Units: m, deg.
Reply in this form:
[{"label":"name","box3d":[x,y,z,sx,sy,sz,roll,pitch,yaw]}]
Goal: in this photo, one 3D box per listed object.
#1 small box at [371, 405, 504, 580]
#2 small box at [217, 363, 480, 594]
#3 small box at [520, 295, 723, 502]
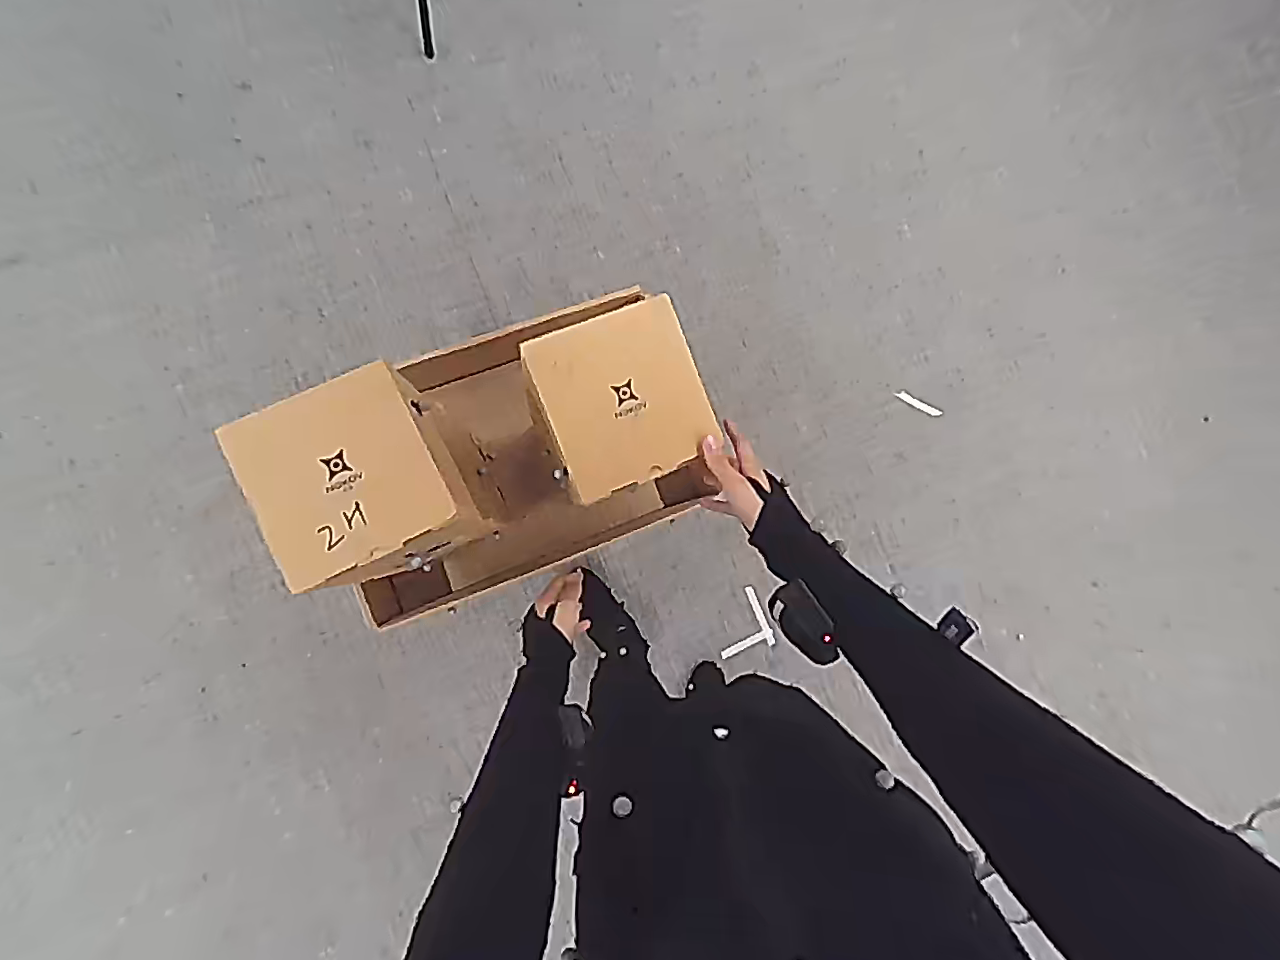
[{"label":"small box","box3d":[-0.303,0.020,0.754,0.168,0.176,0.179,-25,88,-9]},{"label":"small box","box3d":[-0.295,0.004,0.588,0.168,0.176,0.179,-27,88,-9]},{"label":"small box","box3d":[-0.031,-0.082,0.630,0.168,0.176,0.179,-23,93,-9]}]
